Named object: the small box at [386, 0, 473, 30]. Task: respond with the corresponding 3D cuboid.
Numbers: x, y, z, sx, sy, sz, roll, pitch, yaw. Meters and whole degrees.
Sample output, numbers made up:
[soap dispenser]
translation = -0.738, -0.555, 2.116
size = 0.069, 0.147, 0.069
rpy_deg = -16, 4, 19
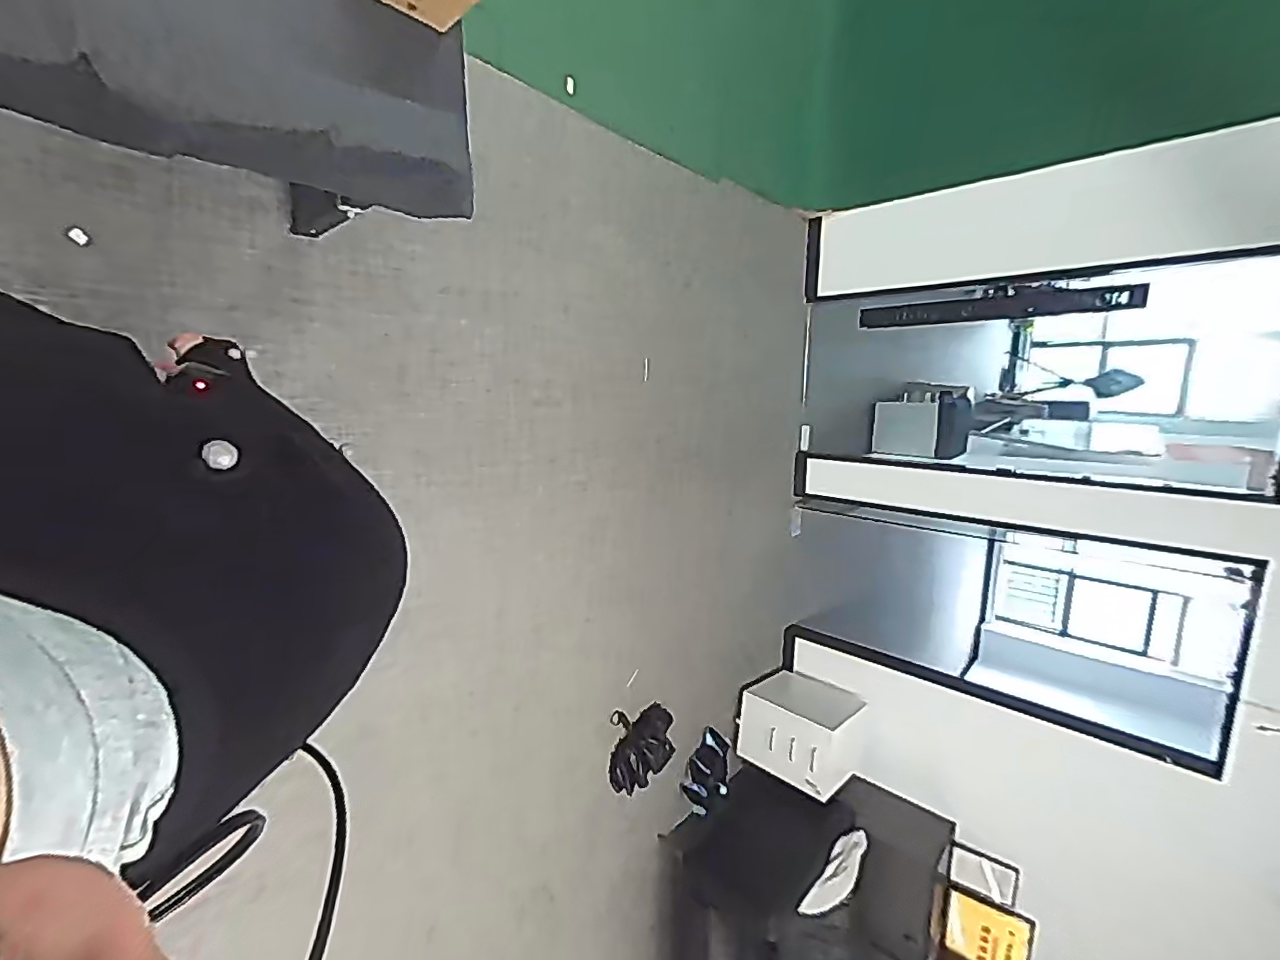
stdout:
[small box]
translation = -0.297, -0.746, 0.704
size = 0.168, 0.176, 0.179
rpy_deg = -9, 104, -47
